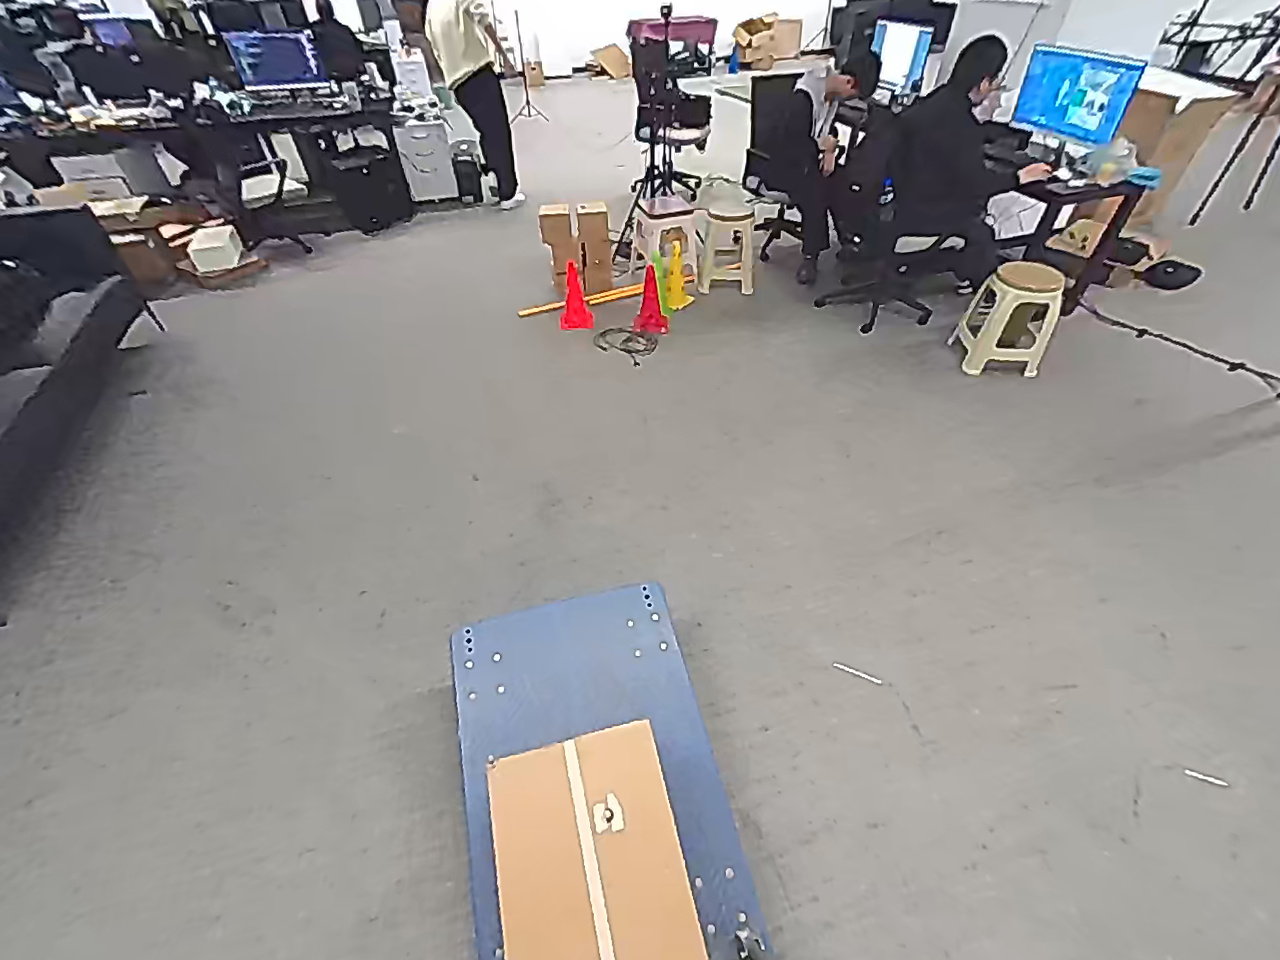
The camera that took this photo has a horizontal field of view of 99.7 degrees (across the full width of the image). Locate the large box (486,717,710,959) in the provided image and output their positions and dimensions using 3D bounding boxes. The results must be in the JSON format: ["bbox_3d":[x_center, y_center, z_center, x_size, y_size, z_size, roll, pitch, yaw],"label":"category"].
[{"bbox_3d":[-0.088,0.731,1.049,0.320,0.320,0.408,-12,59,-10],"label":"large box"}]
